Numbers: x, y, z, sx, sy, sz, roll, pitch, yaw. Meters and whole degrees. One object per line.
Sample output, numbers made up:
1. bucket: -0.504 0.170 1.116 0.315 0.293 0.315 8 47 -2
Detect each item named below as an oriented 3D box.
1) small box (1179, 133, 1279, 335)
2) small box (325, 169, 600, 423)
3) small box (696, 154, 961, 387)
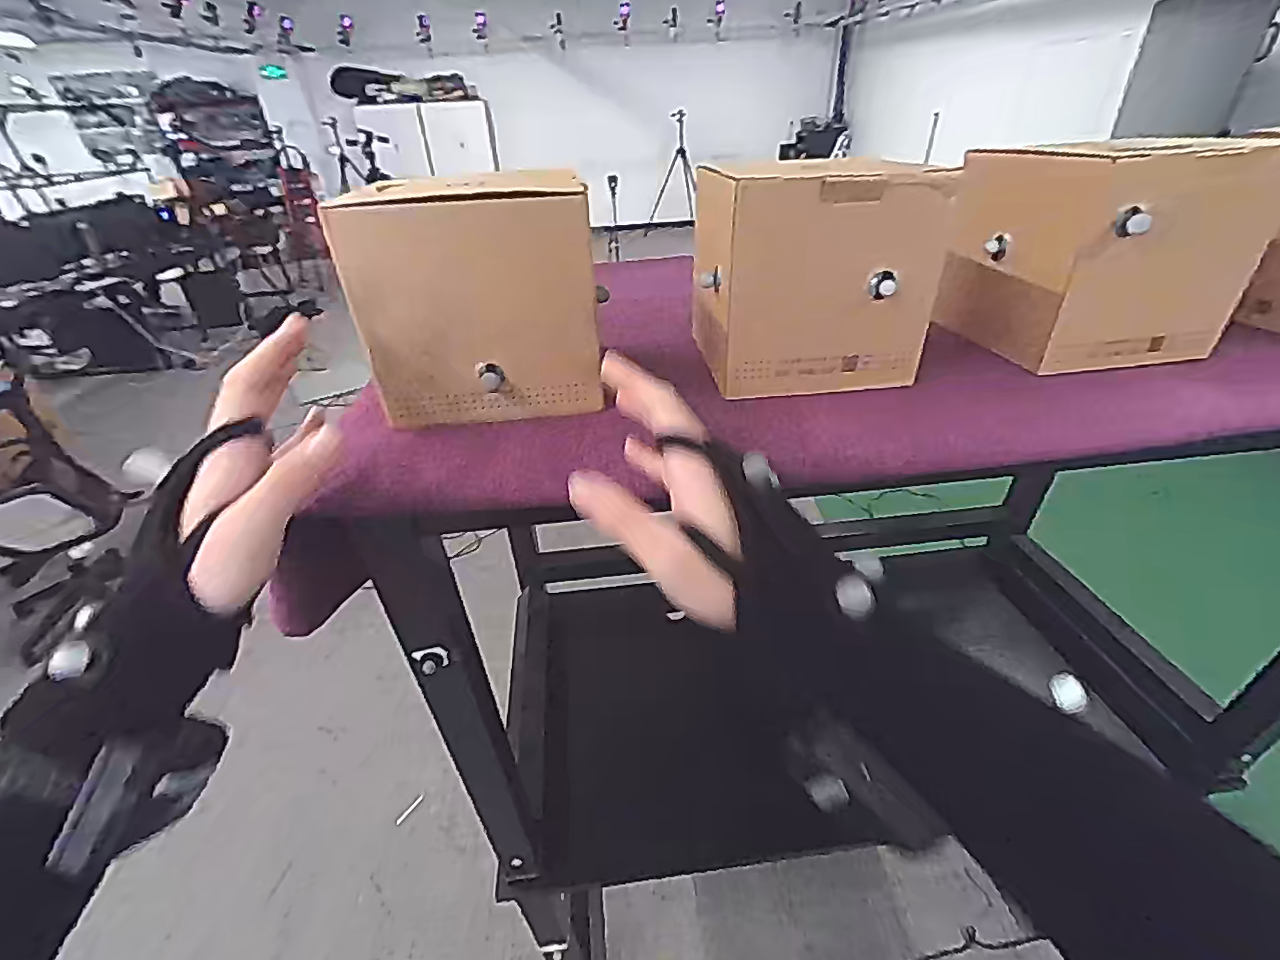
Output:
1. small box: 0.693 -0.241 0.525 0.179 0.176 0.168 -5 33 -3
2. small box: -0.127 -0.162 0.465 0.179 0.176 0.168 -6 34 -6
3. small box: 0.144 -0.189 0.488 0.168 0.176 0.179 -3 32 -3
